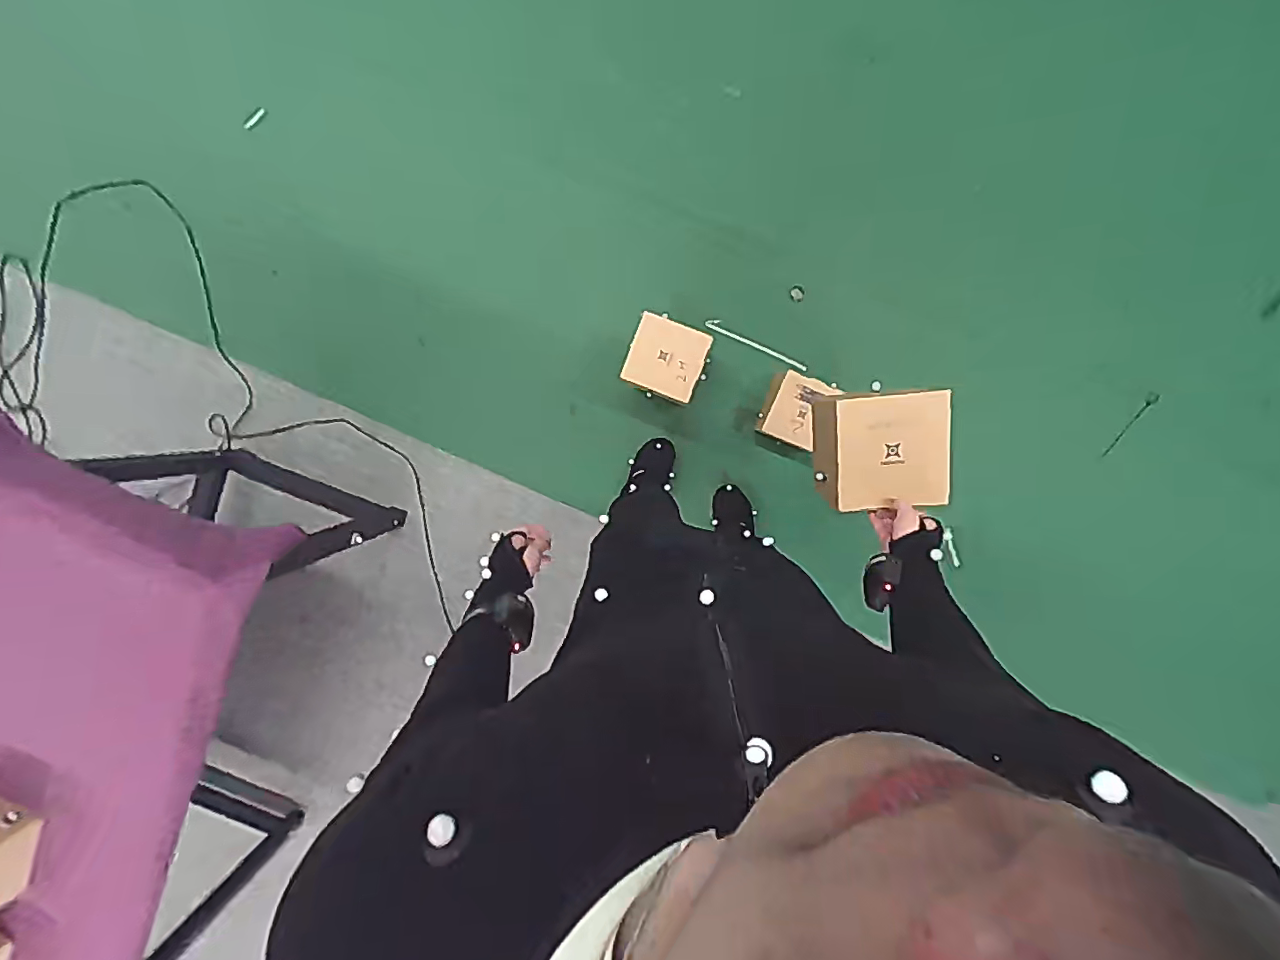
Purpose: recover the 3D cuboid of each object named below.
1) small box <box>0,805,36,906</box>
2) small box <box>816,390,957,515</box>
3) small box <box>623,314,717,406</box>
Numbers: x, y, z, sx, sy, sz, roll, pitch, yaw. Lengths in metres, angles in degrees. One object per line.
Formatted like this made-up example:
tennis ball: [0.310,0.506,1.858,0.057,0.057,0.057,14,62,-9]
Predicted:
small box: [-1.265,0.710,0.975,0.168,0.176,0.179,21,98,2]
small box: [0.390,-0.051,0.879,0.168,0.176,0.179,-5,99,6]
small box: [0.074,-0.286,1.330,0.179,0.176,0.168,22,97,2]
